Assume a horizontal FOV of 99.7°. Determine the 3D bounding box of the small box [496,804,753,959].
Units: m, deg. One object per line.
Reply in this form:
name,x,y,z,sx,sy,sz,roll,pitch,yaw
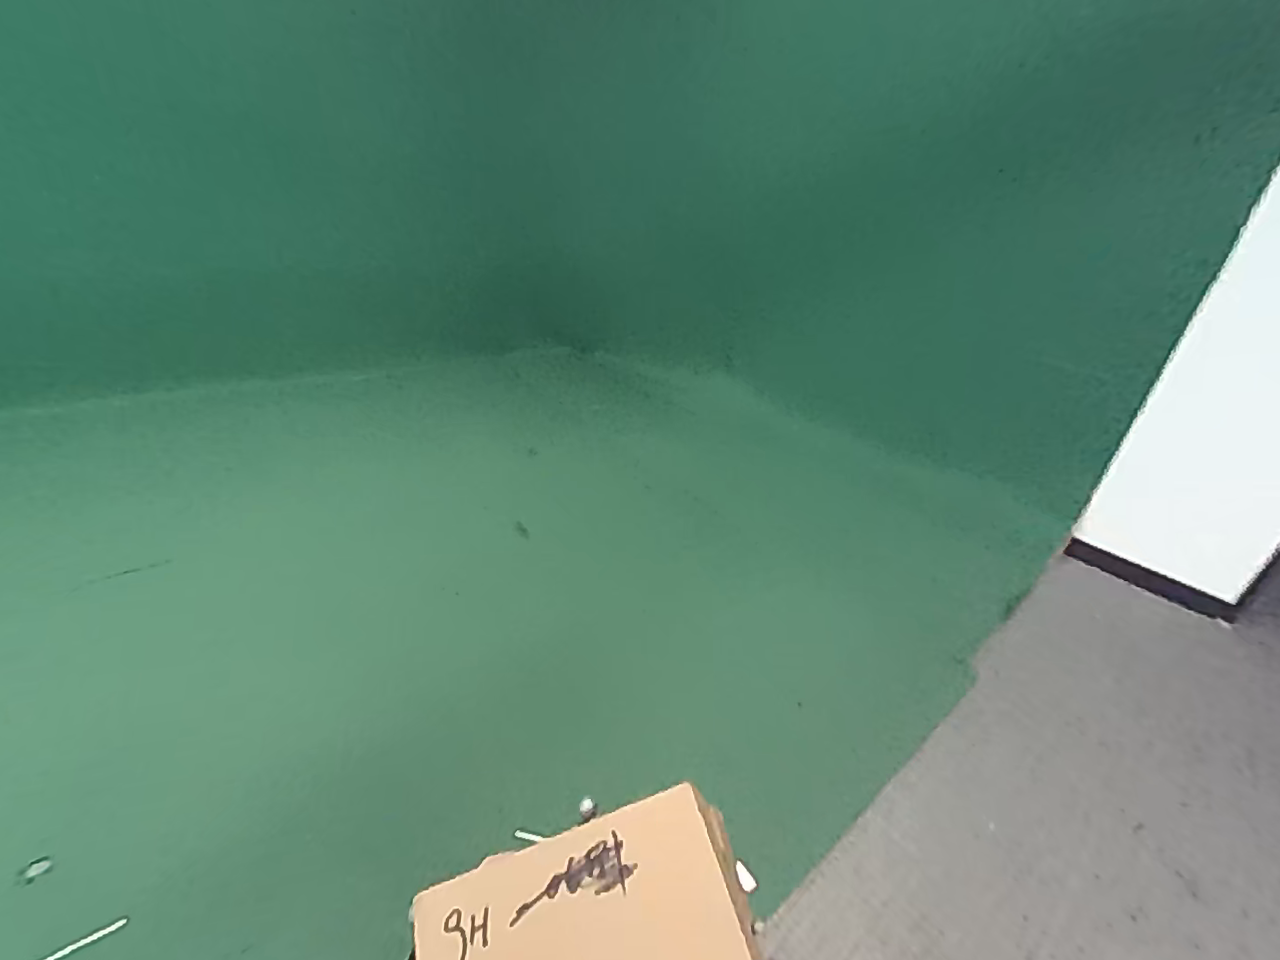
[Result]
small box,-0.001,0.395,0.455,0.179,0.176,0.168,-17,56,-3
